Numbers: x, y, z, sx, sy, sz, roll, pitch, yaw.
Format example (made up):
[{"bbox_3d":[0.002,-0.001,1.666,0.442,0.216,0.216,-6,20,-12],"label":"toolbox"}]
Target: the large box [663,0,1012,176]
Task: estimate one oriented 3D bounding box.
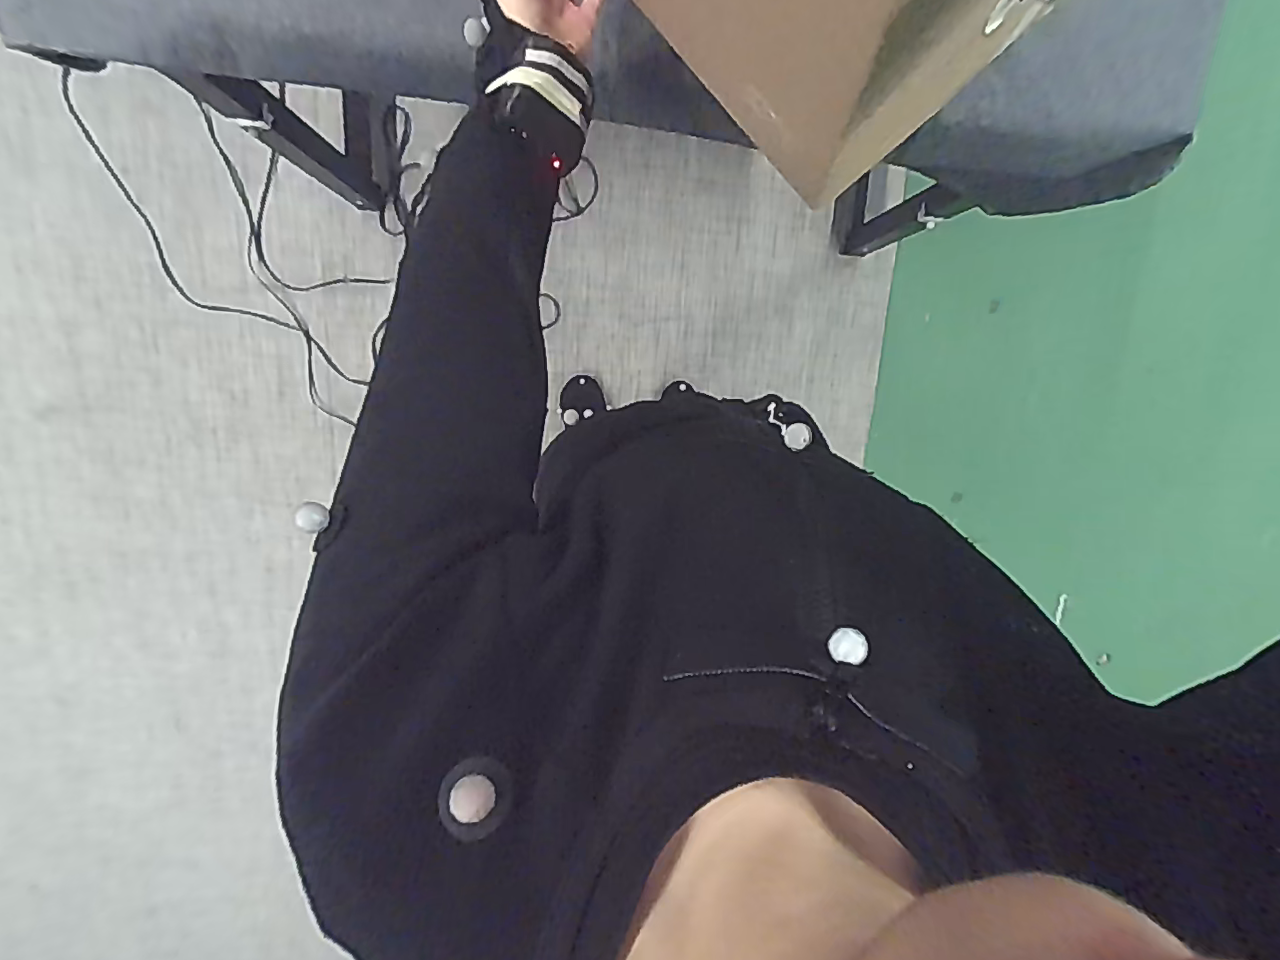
[{"bbox_3d":[0.114,-0.409,0.198,0.320,0.408,0.320,-41,92,15],"label":"large box"}]
